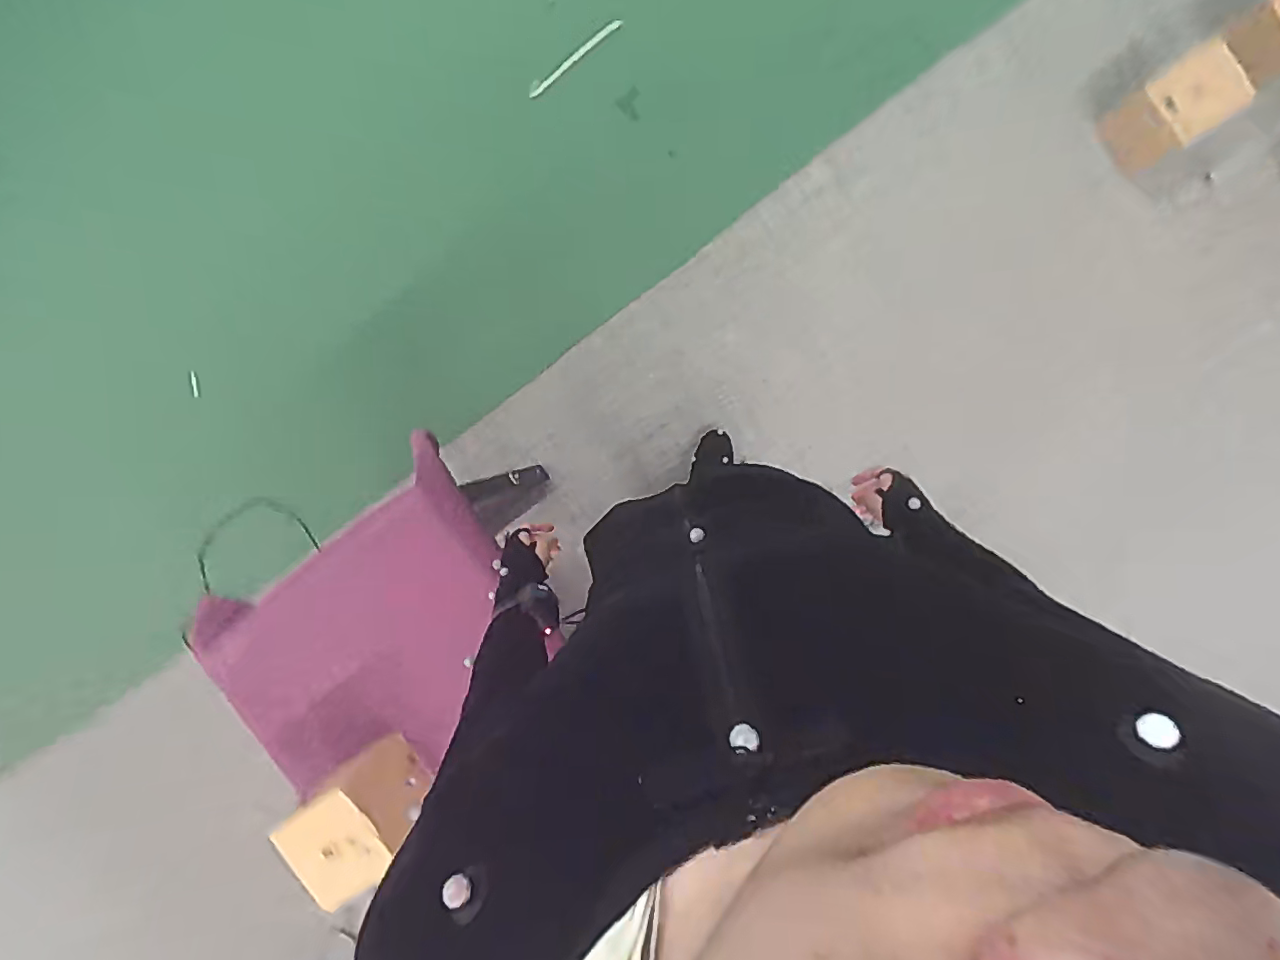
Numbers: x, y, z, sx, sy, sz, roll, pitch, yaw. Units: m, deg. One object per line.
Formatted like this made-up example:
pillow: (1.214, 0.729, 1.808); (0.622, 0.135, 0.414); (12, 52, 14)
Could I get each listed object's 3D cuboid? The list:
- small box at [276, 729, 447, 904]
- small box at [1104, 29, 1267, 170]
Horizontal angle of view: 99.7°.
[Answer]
small box: (-0.489, 0.594, 0.973); (0.179, 0.176, 0.168); (-36, 91, 10)
small box: (1.275, -0.887, 1.279); (0.179, 0.176, 0.168); (-35, 89, 9)
